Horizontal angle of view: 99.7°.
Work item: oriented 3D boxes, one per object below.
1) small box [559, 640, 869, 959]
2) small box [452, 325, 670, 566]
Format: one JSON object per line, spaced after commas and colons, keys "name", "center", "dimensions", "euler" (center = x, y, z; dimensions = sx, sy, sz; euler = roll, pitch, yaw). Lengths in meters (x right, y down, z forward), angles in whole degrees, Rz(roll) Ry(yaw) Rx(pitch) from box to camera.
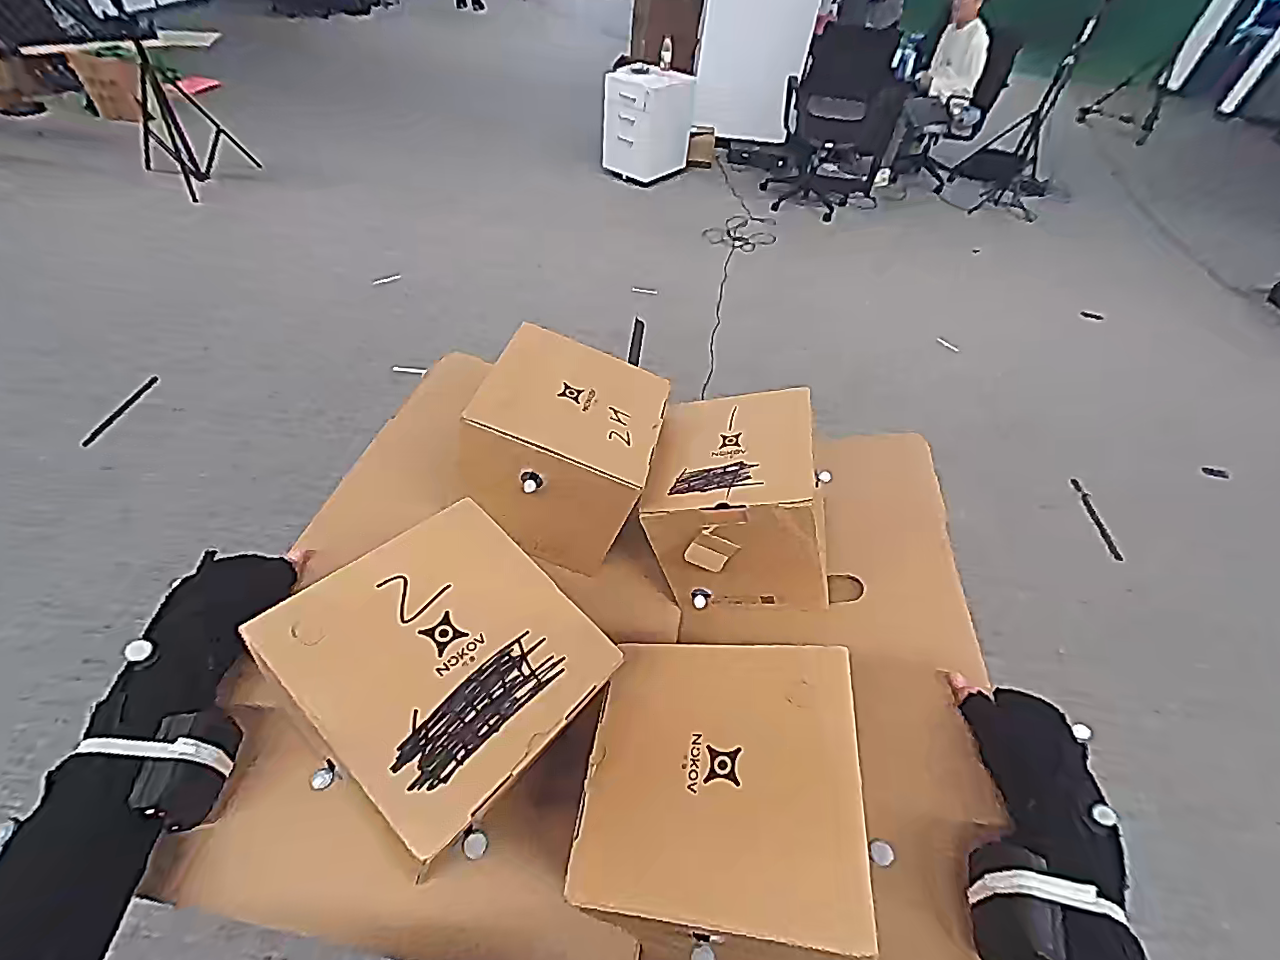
{"name": "small box", "center": [0.069, 0.235, 0.404], "dimensions": [0.179, 0.176, 0.168], "euler": [-6, 44, 20]}
{"name": "small box", "center": [-0.089, -0.031, 0.593], "dimensions": [0.179, 0.176, 0.168], "euler": [23, 47, -7]}
